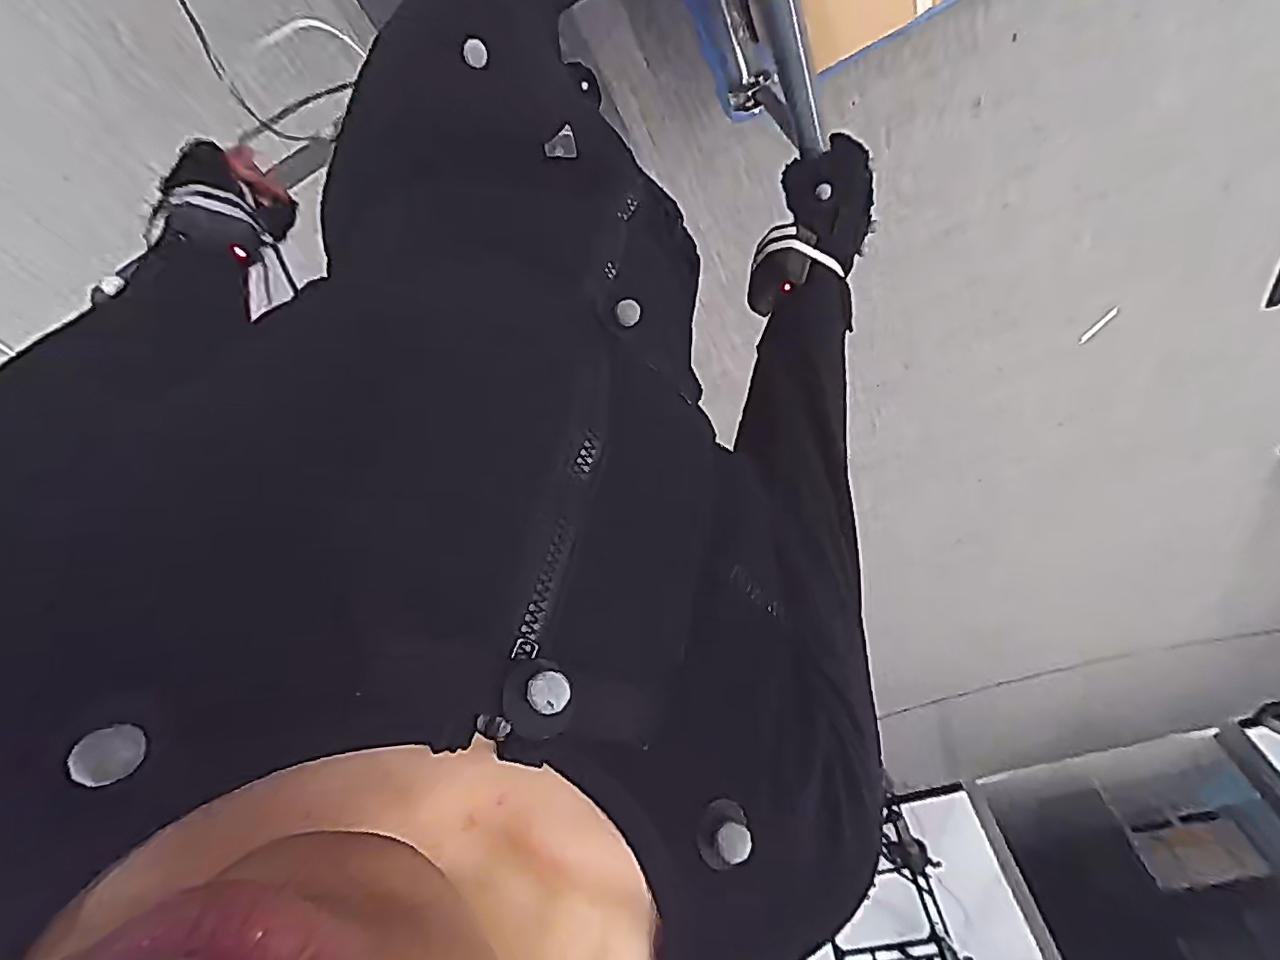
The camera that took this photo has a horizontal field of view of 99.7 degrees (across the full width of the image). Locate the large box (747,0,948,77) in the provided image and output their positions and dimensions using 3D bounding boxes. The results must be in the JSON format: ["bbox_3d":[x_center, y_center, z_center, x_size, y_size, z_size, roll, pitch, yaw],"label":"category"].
[{"bbox_3d":[0.279,-0.862,0.716,0.320,0.320,0.408,-22,135,15],"label":"large box"}]
